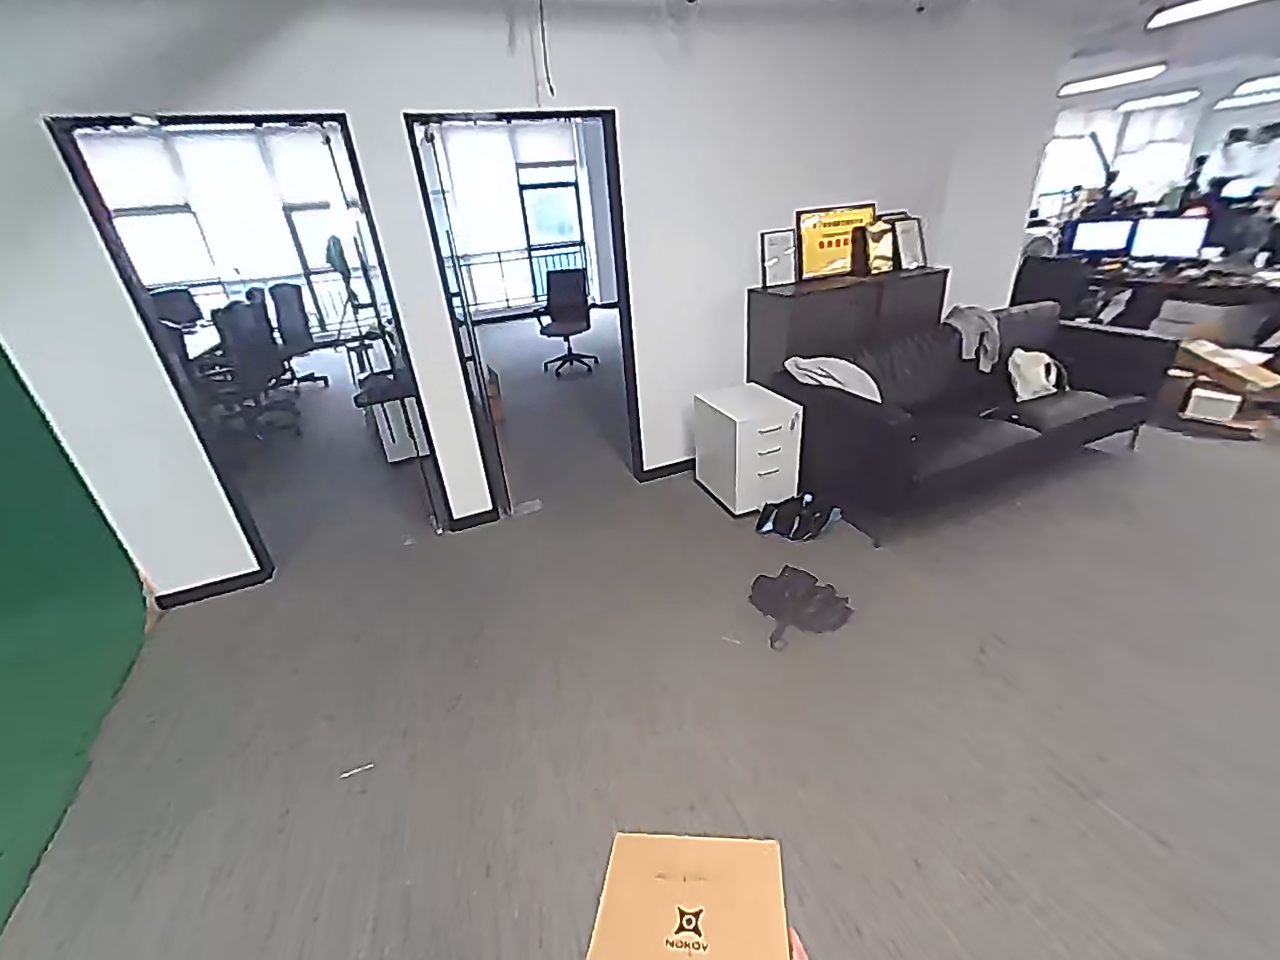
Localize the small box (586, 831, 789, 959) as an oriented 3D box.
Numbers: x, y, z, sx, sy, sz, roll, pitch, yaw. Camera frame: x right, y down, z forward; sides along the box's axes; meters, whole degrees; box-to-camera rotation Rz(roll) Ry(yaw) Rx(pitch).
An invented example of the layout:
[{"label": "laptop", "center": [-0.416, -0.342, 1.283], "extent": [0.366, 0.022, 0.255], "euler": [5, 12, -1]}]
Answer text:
[{"label": "small box", "center": [0.050, 0.456, 0.478], "extent": [0.168, 0.176, 0.179], "euler": [-3, 13, 10]}]
